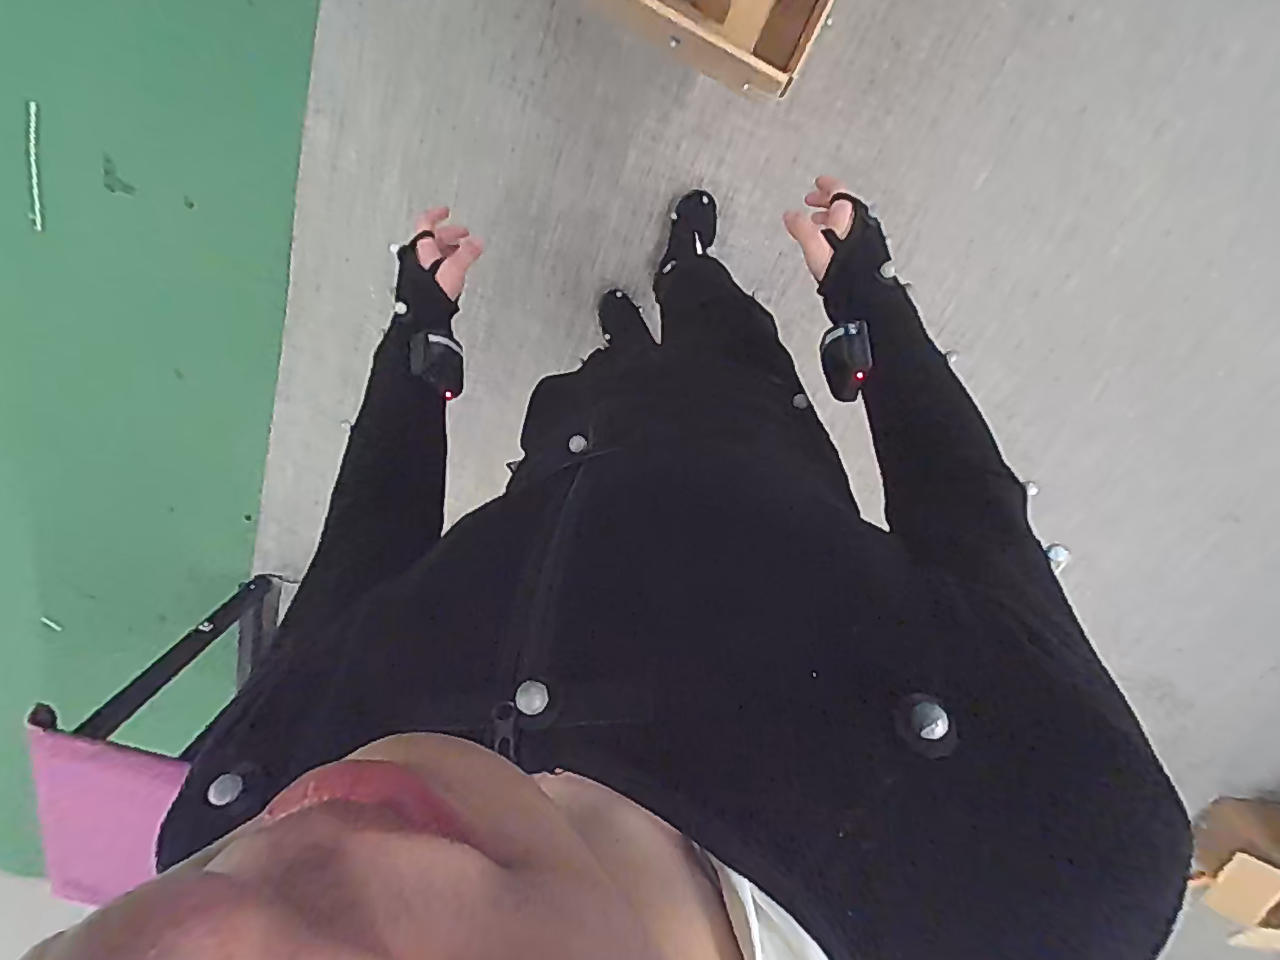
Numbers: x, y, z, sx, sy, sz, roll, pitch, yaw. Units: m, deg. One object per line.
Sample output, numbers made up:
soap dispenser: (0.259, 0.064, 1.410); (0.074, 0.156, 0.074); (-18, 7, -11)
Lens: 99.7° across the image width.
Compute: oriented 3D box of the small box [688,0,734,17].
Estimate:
small box: (0.101, -0.828, 0.773); (0.168, 0.176, 0.179); (24, 112, -7)
